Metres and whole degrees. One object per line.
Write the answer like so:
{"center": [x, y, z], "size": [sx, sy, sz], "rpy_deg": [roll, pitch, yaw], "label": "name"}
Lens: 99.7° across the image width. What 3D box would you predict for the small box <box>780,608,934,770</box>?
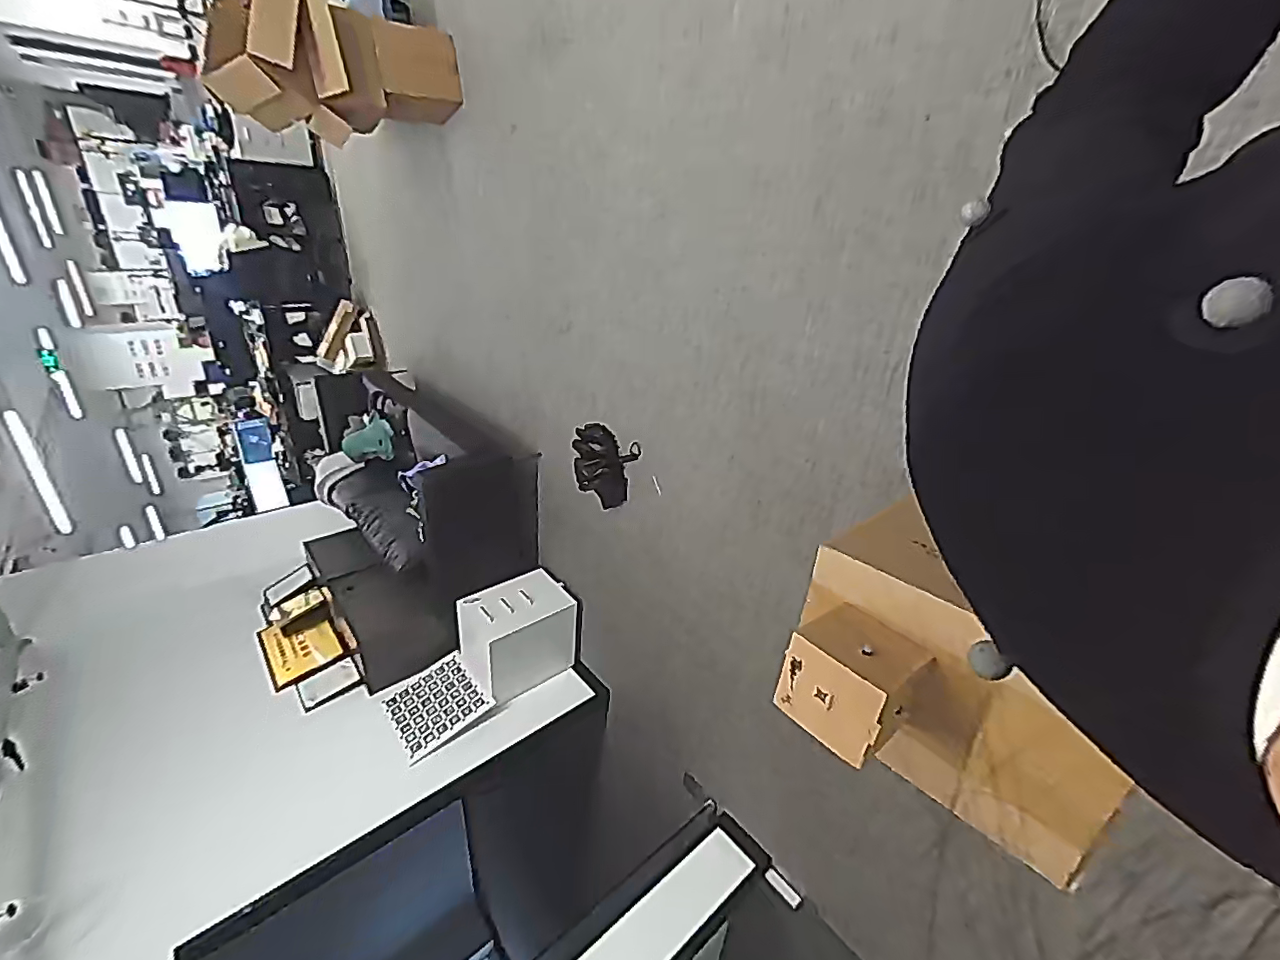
{"center": [0.379, 0.350, 0.946], "size": [0.179, 0.176, 0.168], "rpy_deg": [29, 120, 41], "label": "small box"}
